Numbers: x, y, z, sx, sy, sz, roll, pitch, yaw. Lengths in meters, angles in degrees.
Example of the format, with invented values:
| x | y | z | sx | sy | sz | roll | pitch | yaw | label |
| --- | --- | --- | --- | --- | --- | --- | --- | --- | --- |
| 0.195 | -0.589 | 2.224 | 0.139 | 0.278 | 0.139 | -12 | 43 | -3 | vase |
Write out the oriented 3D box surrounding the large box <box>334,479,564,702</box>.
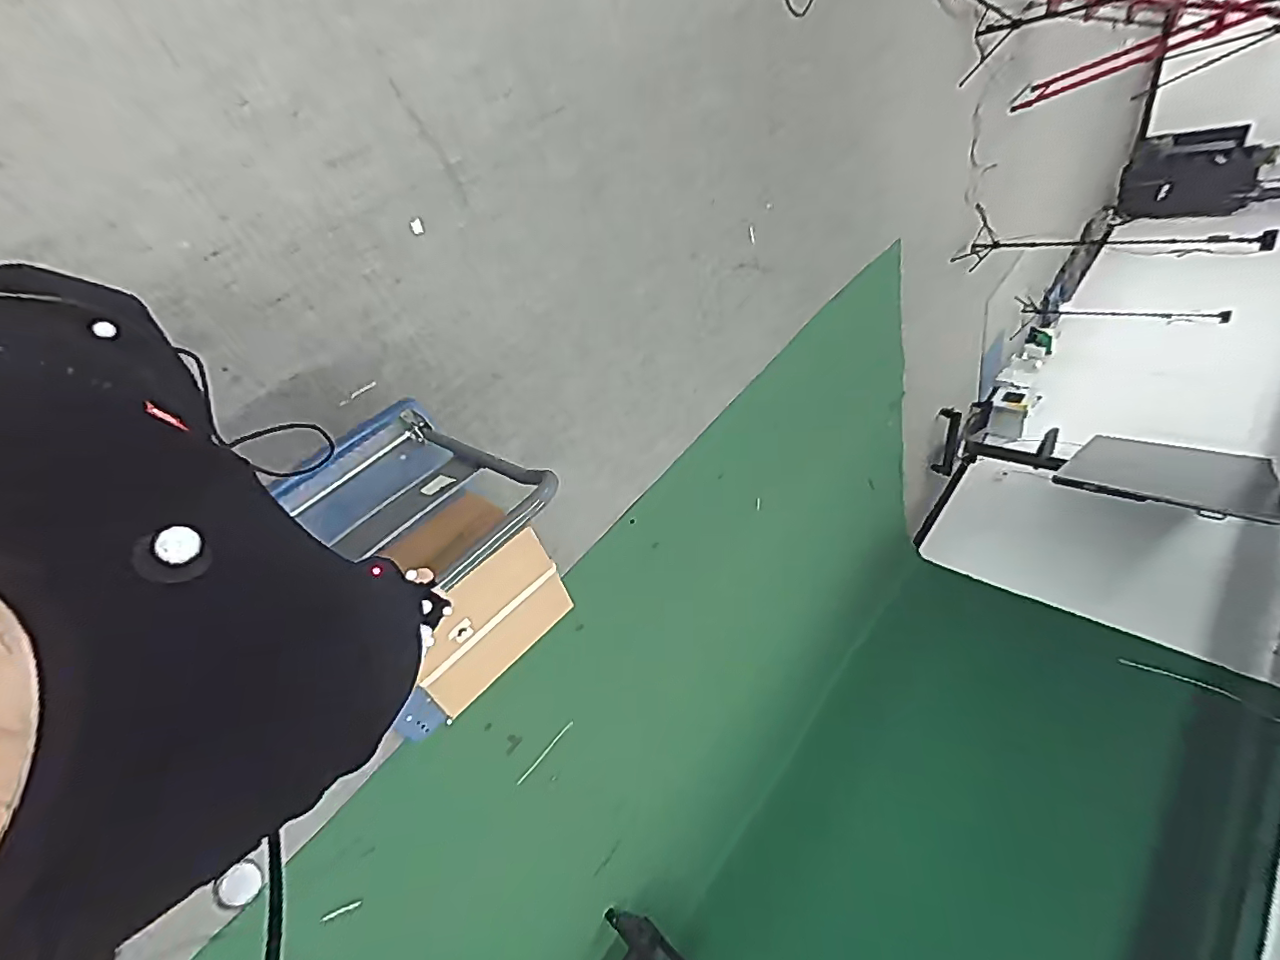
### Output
| x | y | z | sx | sy | sz | roll | pitch | yaw | label |
| --- | --- | --- | --- | --- | --- | --- | --- | --- | --- |
| -0.480 | 0.263 | 1.397 | 0.408 | 0.320 | 0.320 | -41 | 131 | -26 | large box |
